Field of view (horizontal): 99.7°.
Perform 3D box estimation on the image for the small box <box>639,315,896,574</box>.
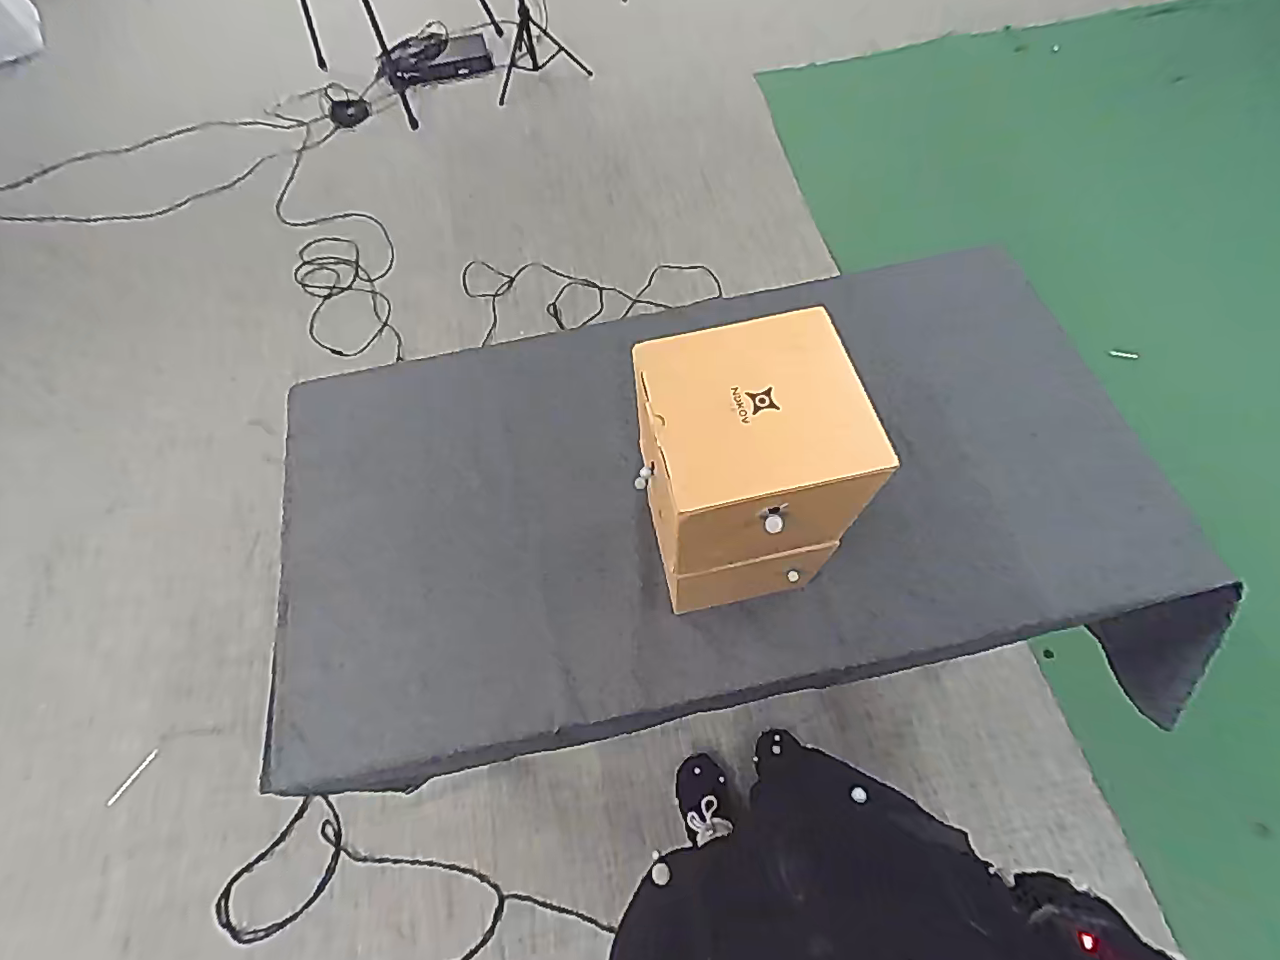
[{"bbox_3d":[0.102,-0.024,0.515,0.179,0.176,0.168,-12,64,-2],"label":"small box"}]
